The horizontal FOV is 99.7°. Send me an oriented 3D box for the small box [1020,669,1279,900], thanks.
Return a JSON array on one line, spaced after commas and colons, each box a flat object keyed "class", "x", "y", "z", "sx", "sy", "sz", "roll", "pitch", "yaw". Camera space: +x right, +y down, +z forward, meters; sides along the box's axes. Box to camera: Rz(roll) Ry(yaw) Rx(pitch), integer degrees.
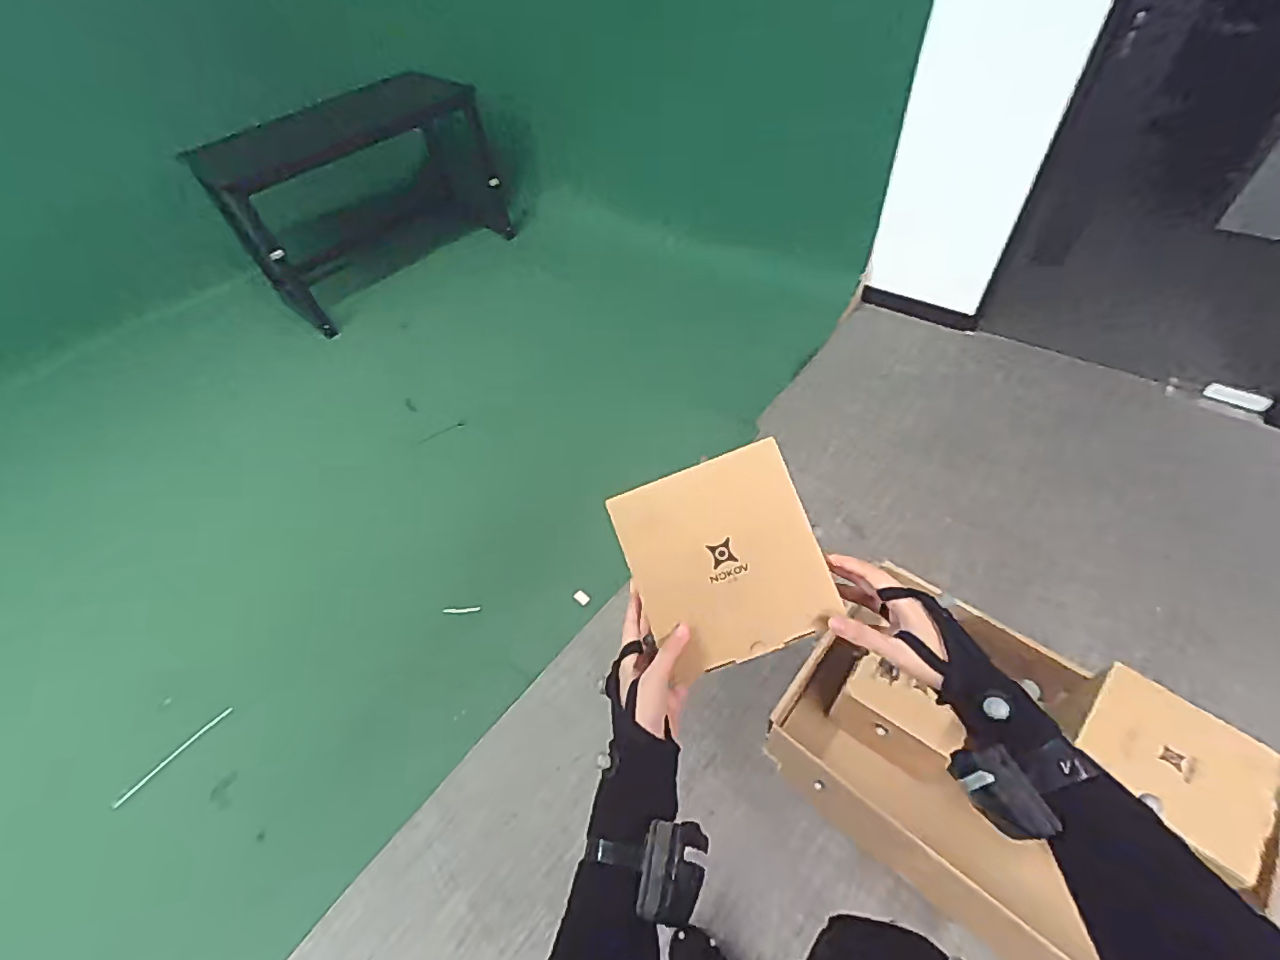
[{"class": "small box", "x": 0.631, "y": 0.379, "z": 0.678, "sx": 0.168, "sy": 0.176, "sz": 0.179, "roll": -40, "pitch": 55, "yaw": -22}]
